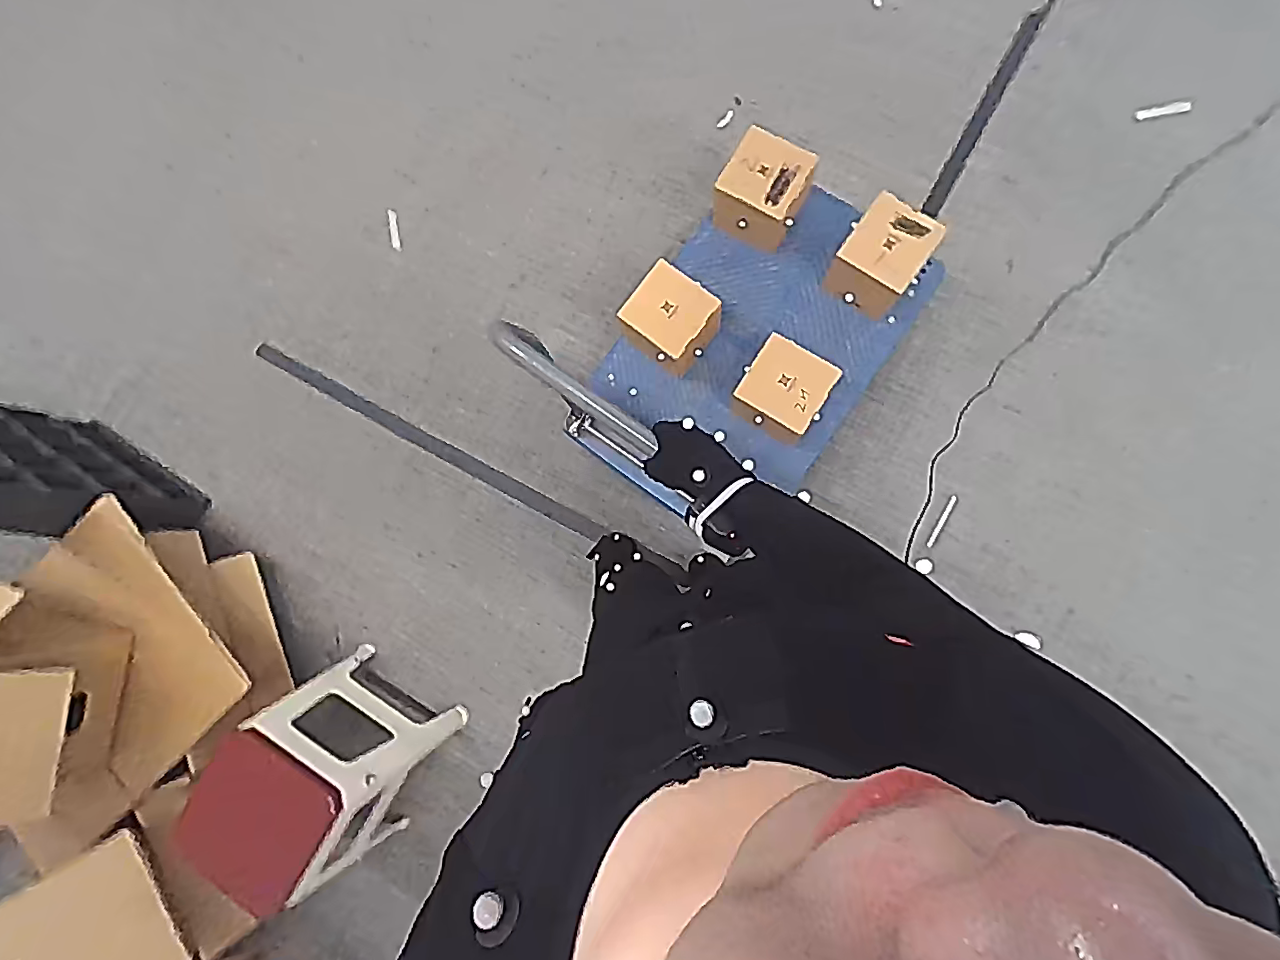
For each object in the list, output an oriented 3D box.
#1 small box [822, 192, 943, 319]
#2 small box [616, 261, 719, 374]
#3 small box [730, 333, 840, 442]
[{"bbox_3d":[0.543,-0.506,1.242,0.168,0.176,0.179,36,91,8],"label":"small box"},{"bbox_3d":[0.069,-0.375,1.285,0.179,0.176,0.168,37,91,8],"label":"small box"},{"bbox_3d":[0.322,-0.202,1.243,0.179,0.176,0.168,32,89,7],"label":"small box"}]
